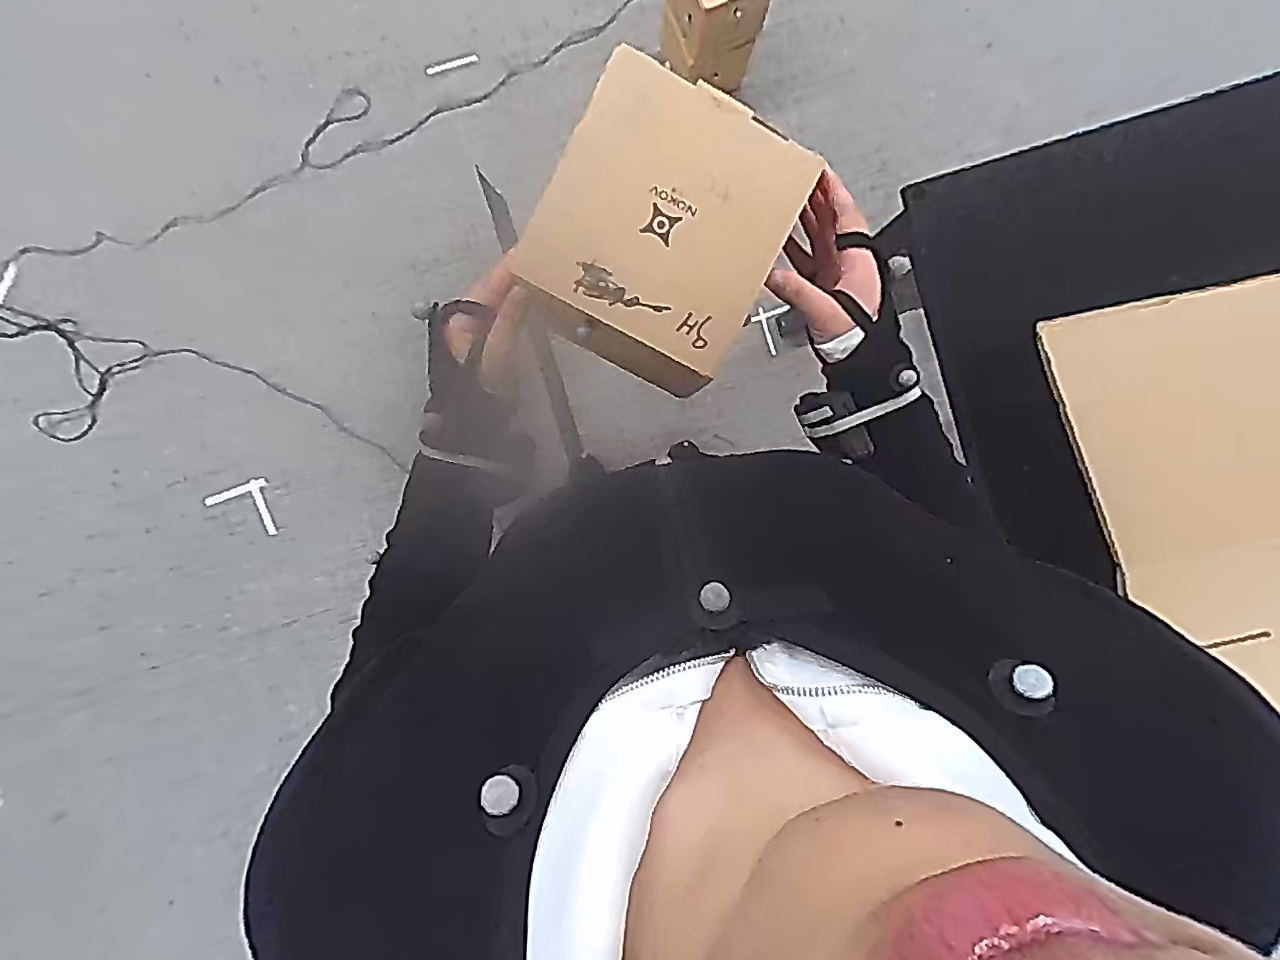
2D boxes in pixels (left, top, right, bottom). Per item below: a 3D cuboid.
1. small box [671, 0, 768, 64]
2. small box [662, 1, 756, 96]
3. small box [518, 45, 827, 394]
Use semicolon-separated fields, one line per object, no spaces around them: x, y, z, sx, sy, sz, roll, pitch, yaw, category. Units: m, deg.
0.176;-1.082;1.201;0.179;0.176;0.168;-25;94;-2;small box
0.166;-1.086;1.363;0.179;0.176;0.168;-21;93;0;small box
0.020;-0.191;0.457;0.168;0.176;0.179;27;91;-2;small box
